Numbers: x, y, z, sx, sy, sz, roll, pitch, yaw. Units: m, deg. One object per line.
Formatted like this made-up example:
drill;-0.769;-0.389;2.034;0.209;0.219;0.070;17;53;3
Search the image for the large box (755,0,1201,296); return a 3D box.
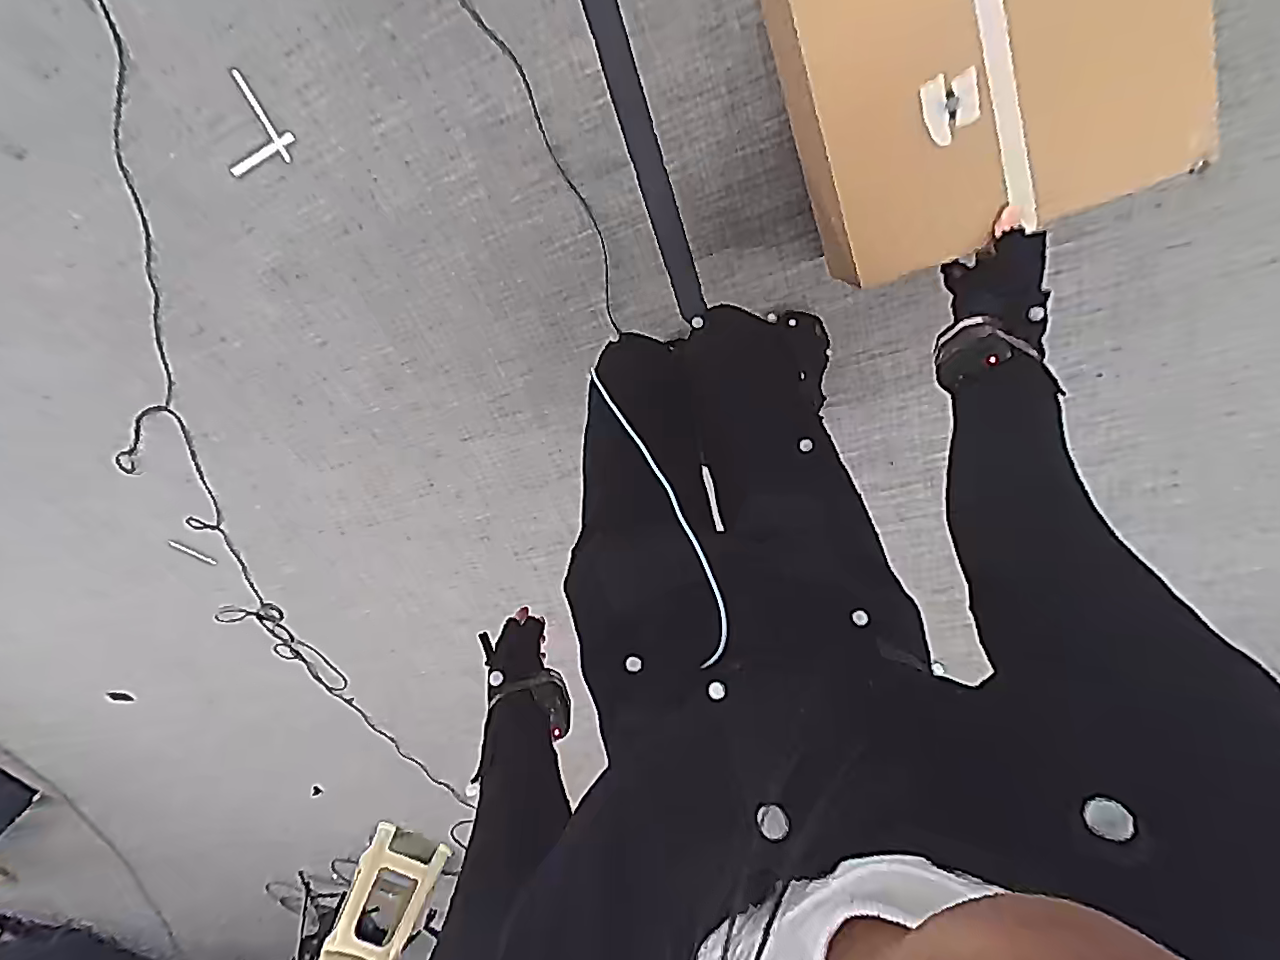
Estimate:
large box;0.343;-0.480;0.630;0.320;0.320;0.408;-17;110;20
